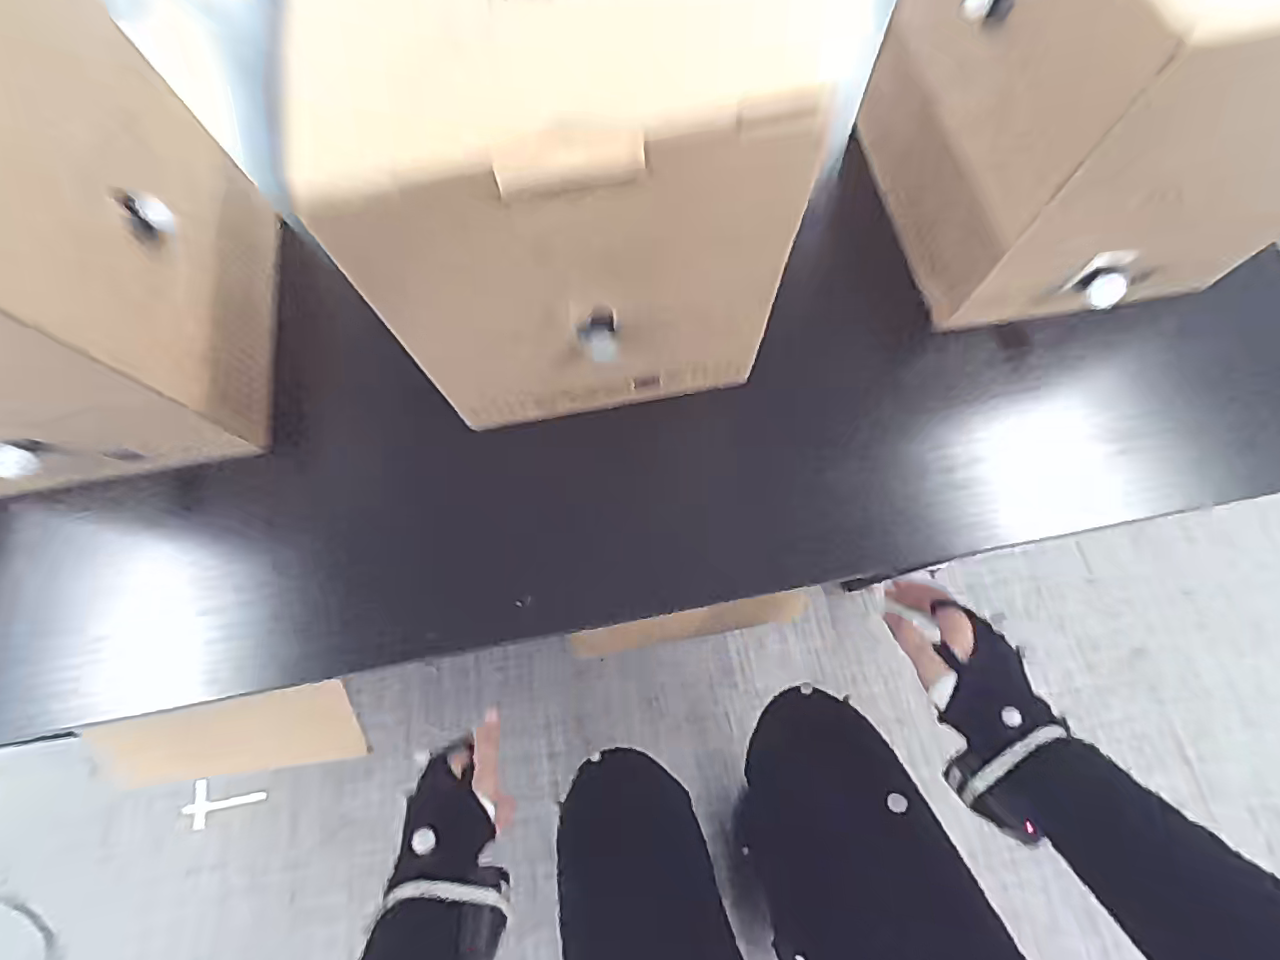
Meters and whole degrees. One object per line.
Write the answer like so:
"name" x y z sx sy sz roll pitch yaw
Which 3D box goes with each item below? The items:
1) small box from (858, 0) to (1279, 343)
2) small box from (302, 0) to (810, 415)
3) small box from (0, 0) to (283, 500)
"small box" 0.237 -0.200 0.280 0.168 0.176 0.179 -10 73 0
"small box" -0.035 -0.145 0.270 0.168 0.176 0.179 -10 73 -1
"small box" -0.308 -0.105 0.264 0.168 0.176 0.179 -10 73 -1
